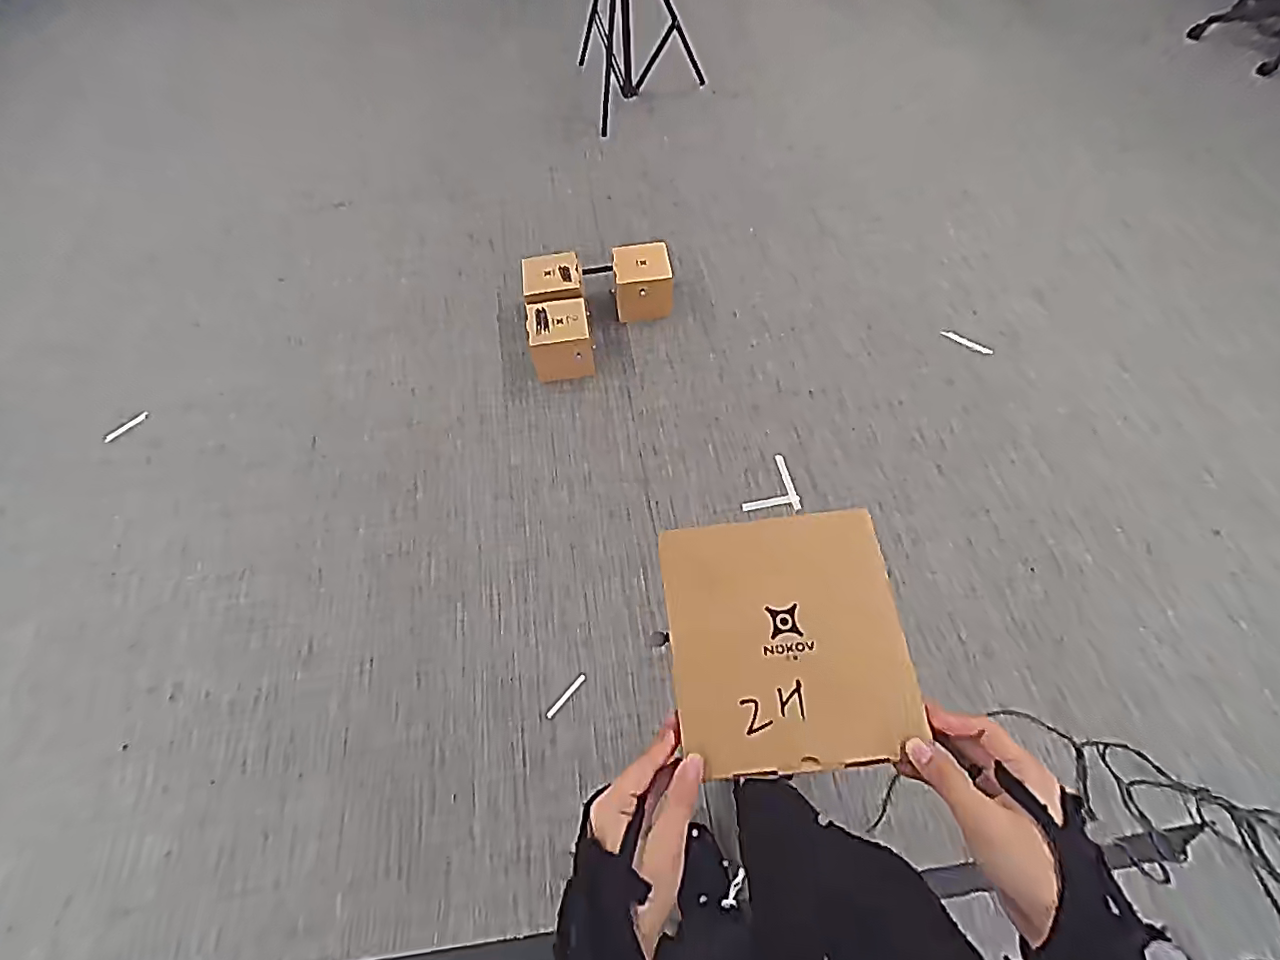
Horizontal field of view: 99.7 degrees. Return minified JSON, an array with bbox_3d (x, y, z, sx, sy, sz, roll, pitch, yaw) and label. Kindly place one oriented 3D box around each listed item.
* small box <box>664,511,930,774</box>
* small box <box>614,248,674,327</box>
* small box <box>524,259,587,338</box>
[{"bbox_3d":[0.111,0.143,0.468,0.168,0.176,0.179,-7,67,2],"label":"small box"},{"bbox_3d":[0.012,-0.626,1.771,0.179,0.176,0.168,-8,62,-1],"label":"small box"},{"bbox_3d":[-0.270,-0.586,1.758,0.179,0.176,0.168,-9,62,-2],"label":"small box"}]
